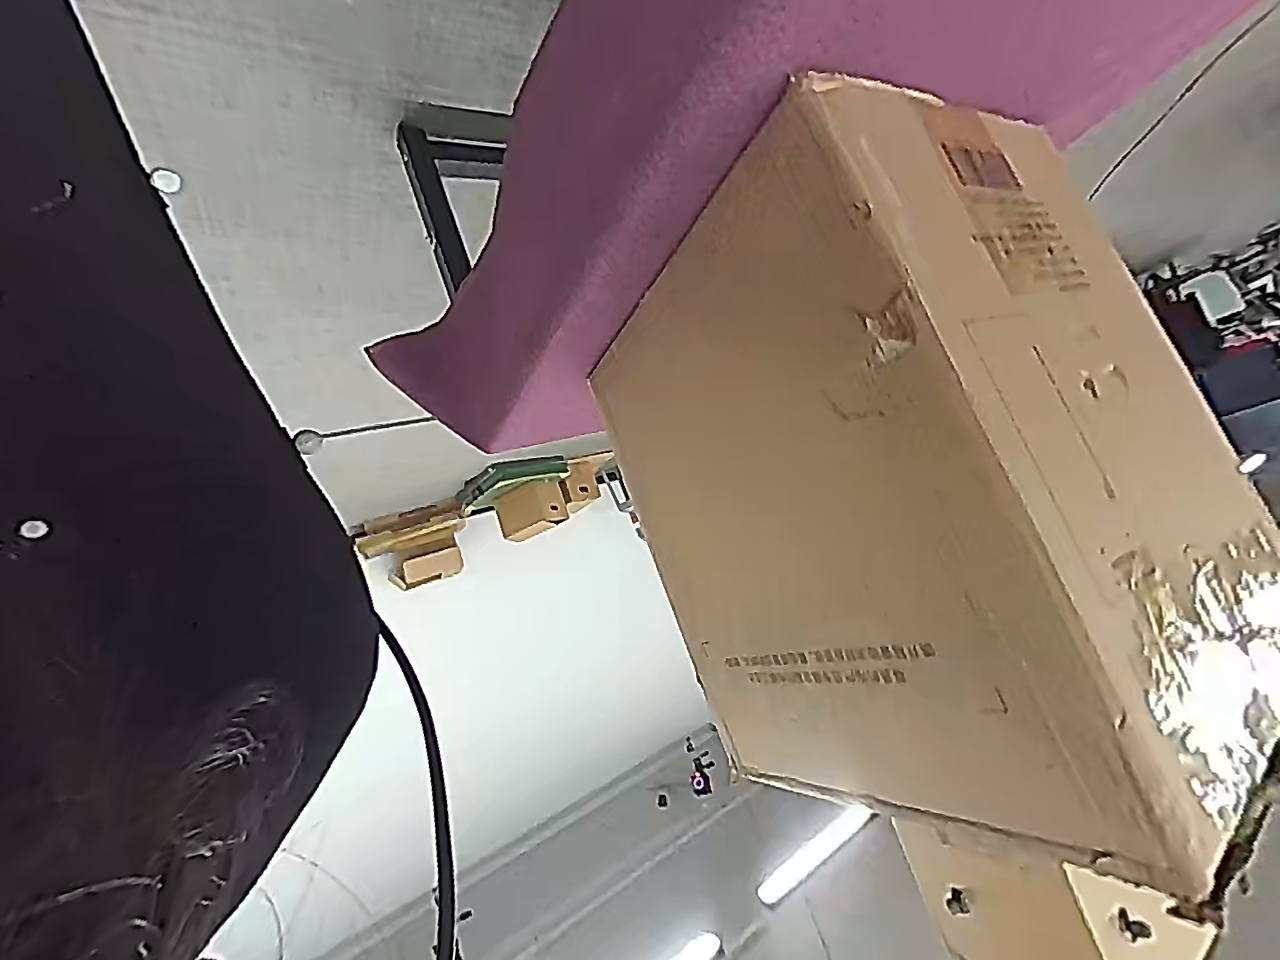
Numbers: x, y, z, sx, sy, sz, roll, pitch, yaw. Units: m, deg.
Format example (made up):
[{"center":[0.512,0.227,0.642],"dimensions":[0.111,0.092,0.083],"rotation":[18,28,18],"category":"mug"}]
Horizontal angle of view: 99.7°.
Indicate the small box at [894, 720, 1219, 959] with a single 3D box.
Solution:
[{"center":[0.386,0.354,0.522],"dimensions":[0.179,0.176,0.168],"rotation":[-16,171,-29],"category":"small box"}]
